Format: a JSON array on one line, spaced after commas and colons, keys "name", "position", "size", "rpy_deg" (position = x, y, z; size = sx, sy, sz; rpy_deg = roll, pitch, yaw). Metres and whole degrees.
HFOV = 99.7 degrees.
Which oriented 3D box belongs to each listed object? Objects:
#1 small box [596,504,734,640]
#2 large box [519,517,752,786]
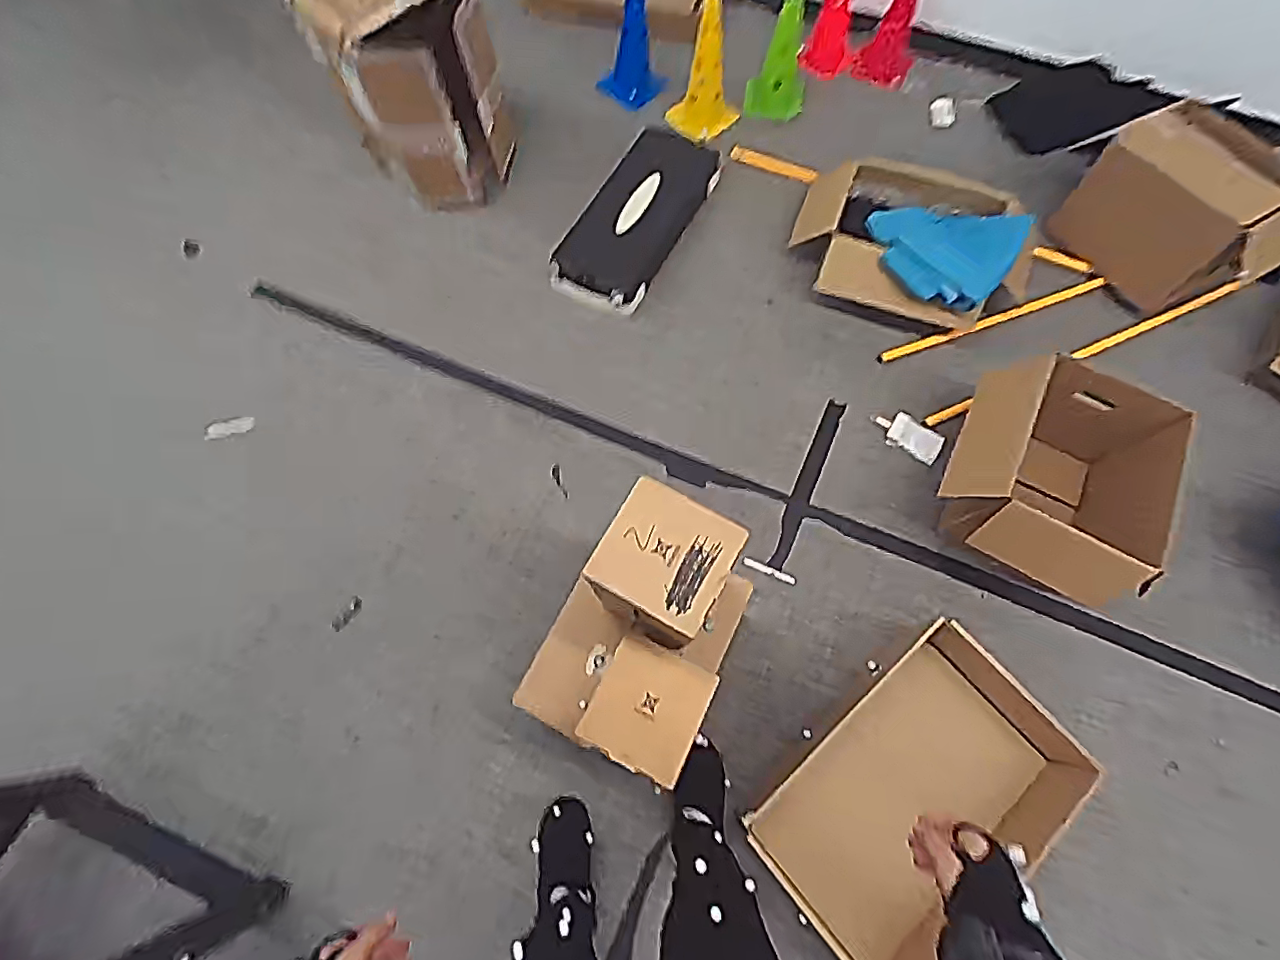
[{"name": "small box", "position": [0.043, 0.172, 0.958], "size": [0.179, 0.176, 0.168], "rpy_deg": [28, 74, 10]}, {"name": "large box", "position": [0.001, 0.349, 1.156], "size": [0.320, 0.320, 0.408], "rpy_deg": [25, 73, 10]}]
